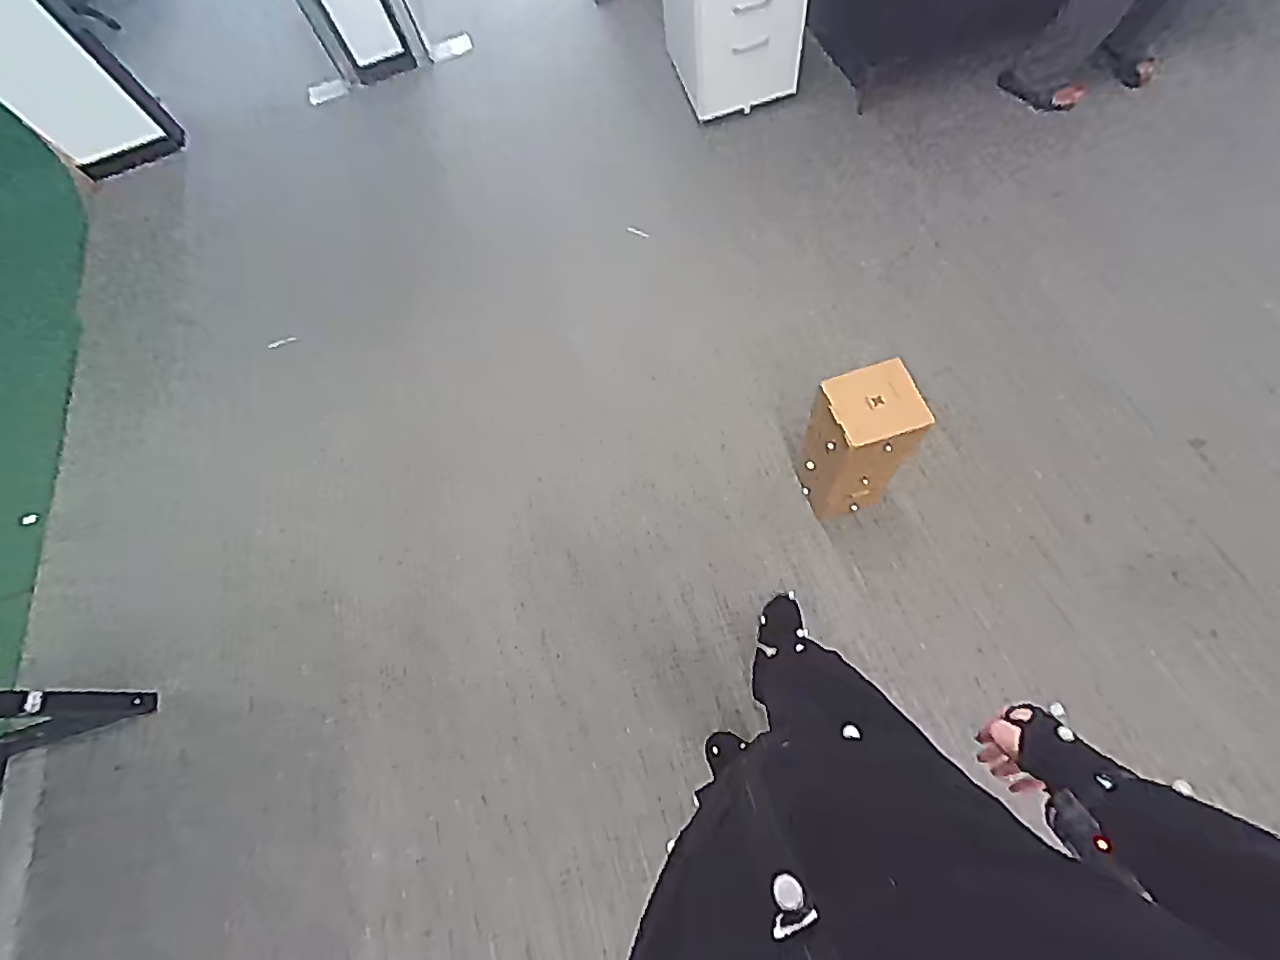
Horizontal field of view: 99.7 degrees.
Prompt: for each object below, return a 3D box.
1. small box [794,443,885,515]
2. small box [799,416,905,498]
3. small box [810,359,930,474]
[{"bbox_3d":[0.538,-0.015,1.483,0.168,0.176,0.179,-16,67,0],"label":"small box"},{"bbox_3d":[0.511,-0.075,1.331,0.179,0.176,0.168,-18,66,1],"label":"small box"},{"bbox_3d":[0.486,-0.131,1.181,0.179,0.176,0.168,-17,67,0],"label":"small box"}]
